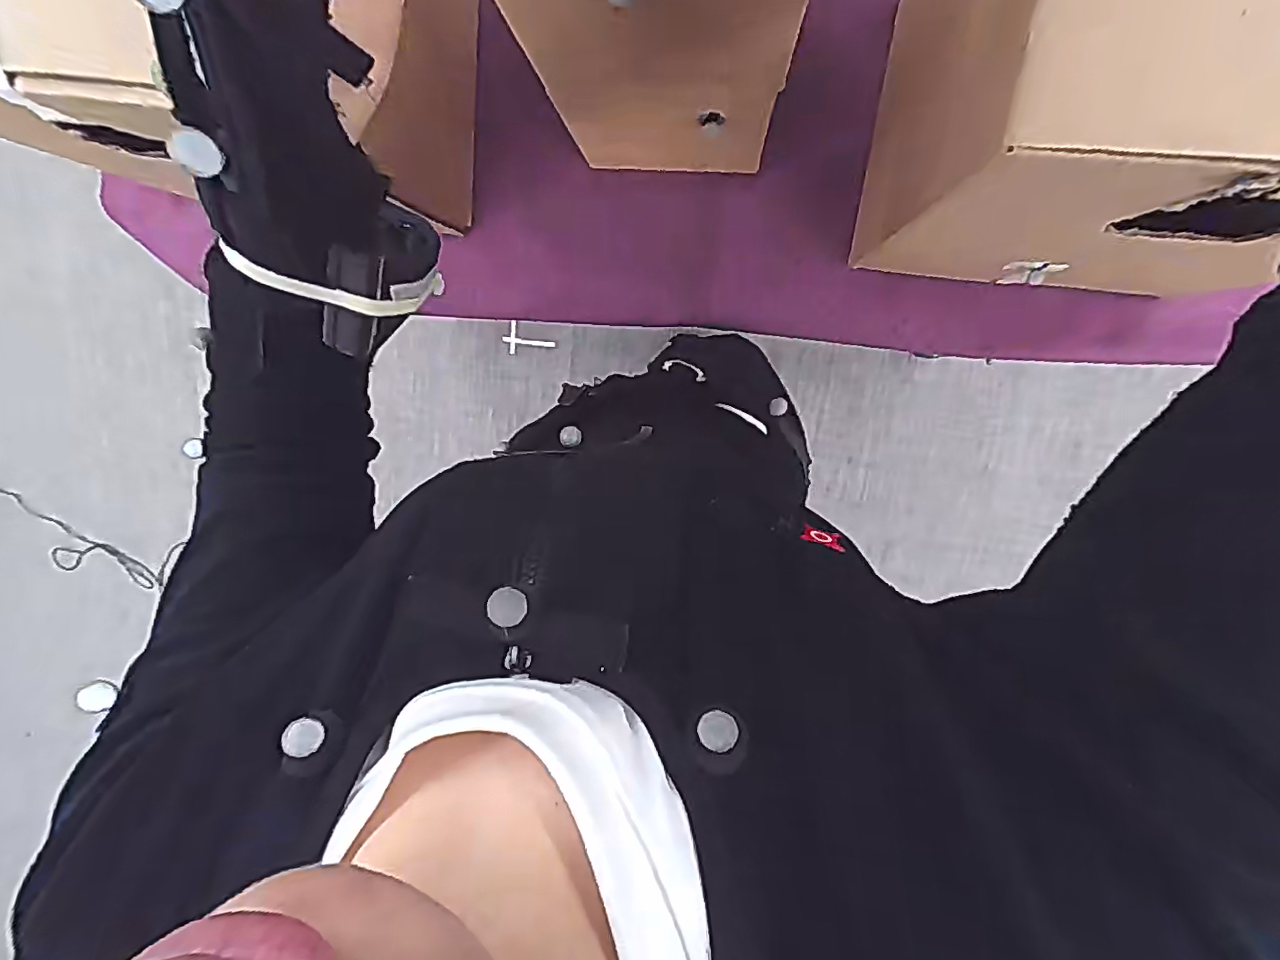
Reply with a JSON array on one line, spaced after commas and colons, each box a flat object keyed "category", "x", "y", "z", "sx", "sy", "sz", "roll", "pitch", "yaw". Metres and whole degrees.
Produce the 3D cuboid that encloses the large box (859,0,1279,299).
[{"category": "large box", "x": 0.363, "y": -0.353, "z": 0.346, "sx": 0.320, "sy": 0.320, "sz": 0.408, "roll": 8, "pitch": 101, "yaw": 5}]
